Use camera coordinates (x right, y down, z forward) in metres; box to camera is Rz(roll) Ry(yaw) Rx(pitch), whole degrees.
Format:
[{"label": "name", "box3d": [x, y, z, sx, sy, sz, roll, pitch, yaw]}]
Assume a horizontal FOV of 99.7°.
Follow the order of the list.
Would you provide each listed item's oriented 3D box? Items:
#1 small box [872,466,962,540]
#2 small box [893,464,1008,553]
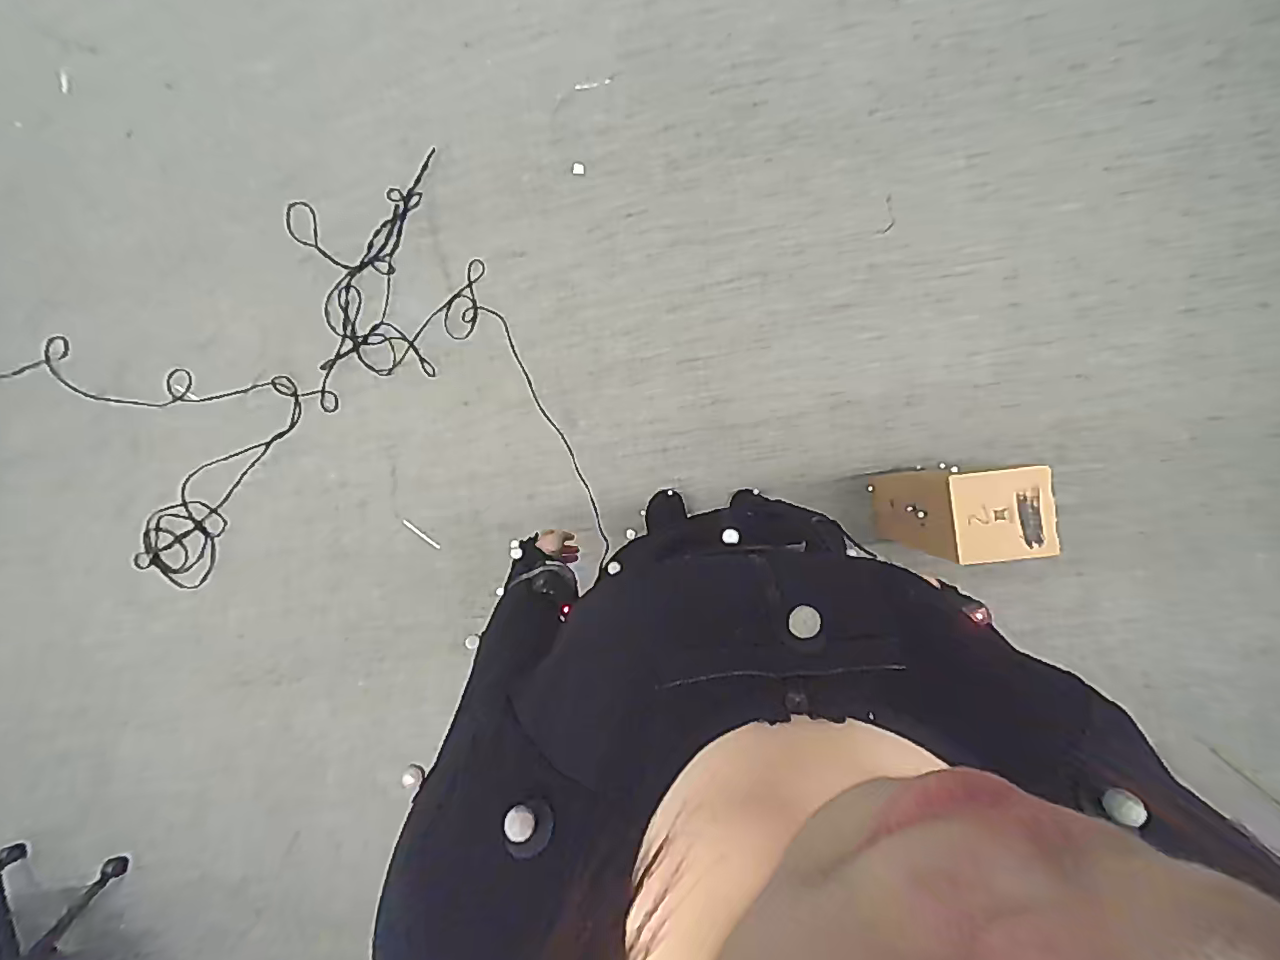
[{"label": "small box", "box3d": [0.706, 0.058, 1.374, 0.179, 0.176, 0.168, -7, 90, 5]}, {"label": "small box", "box3d": [0.684, 0.061, 1.211, 0.168, 0.176, 0.179, -7, 90, 6]}]
